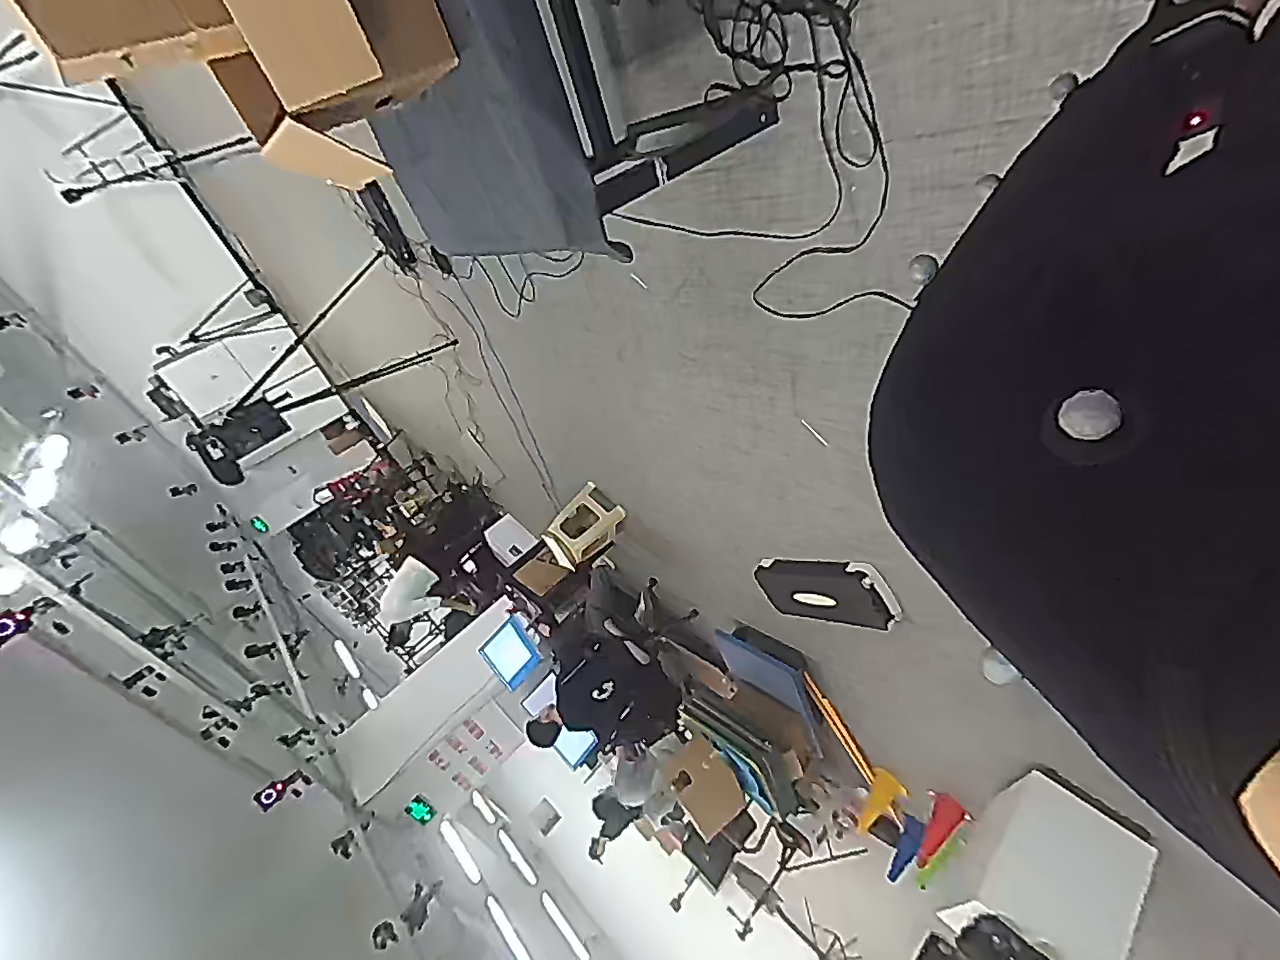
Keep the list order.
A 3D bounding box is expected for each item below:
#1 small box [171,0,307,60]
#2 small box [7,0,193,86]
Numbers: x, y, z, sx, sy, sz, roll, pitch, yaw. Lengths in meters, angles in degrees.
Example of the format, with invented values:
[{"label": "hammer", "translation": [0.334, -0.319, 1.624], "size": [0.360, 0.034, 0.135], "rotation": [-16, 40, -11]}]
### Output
[{"label": "small box", "translation": [-0.642, -0.767, 0.802], "size": [0.168, 0.176, 0.179], "rotation": [22, 143, 45]}, {"label": "small box", "translation": [-0.760, -0.674, 0.739], "size": [0.179, 0.176, 0.168], "rotation": [24, 144, 44]}]
